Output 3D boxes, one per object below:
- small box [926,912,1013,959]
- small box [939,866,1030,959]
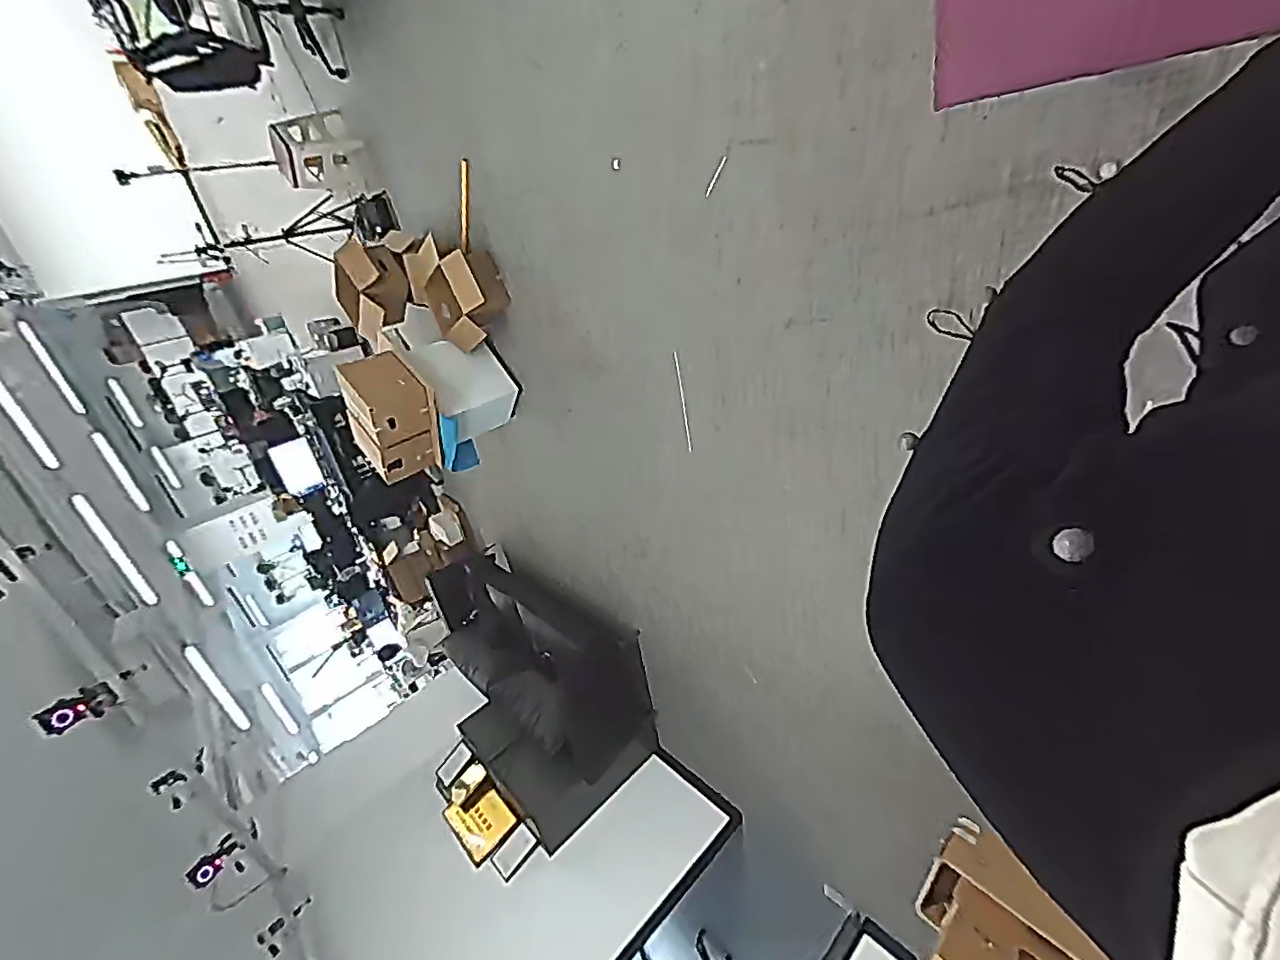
[{"bbox_3d":[0.929,1.395,1.538,0.168,0.176,0.179,28,134,37],"label":"small box"},{"bbox_3d":[1.042,1.326,1.633,0.168,0.176,0.179,29,135,37],"label":"small box"}]
